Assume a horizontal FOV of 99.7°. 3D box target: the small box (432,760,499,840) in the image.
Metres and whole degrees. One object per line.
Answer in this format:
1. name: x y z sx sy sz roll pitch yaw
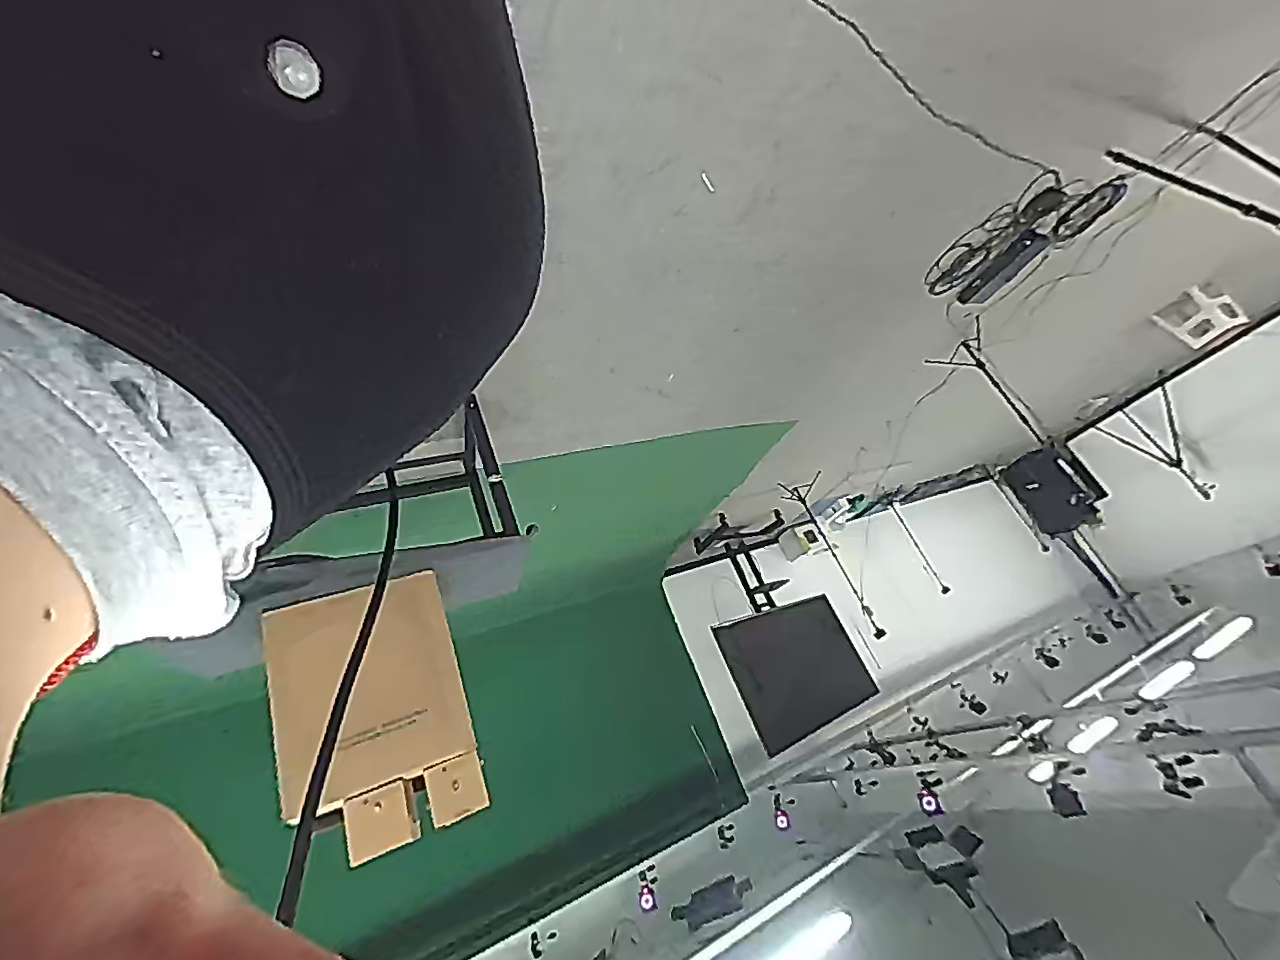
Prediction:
1. small box: -0.558 1.015 1.723 0.168 0.176 0.179 -14 154 -26

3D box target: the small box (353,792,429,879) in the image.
1. small box: -0.744 1.059 1.624 0.168 0.176 0.179 -15 153 -21
